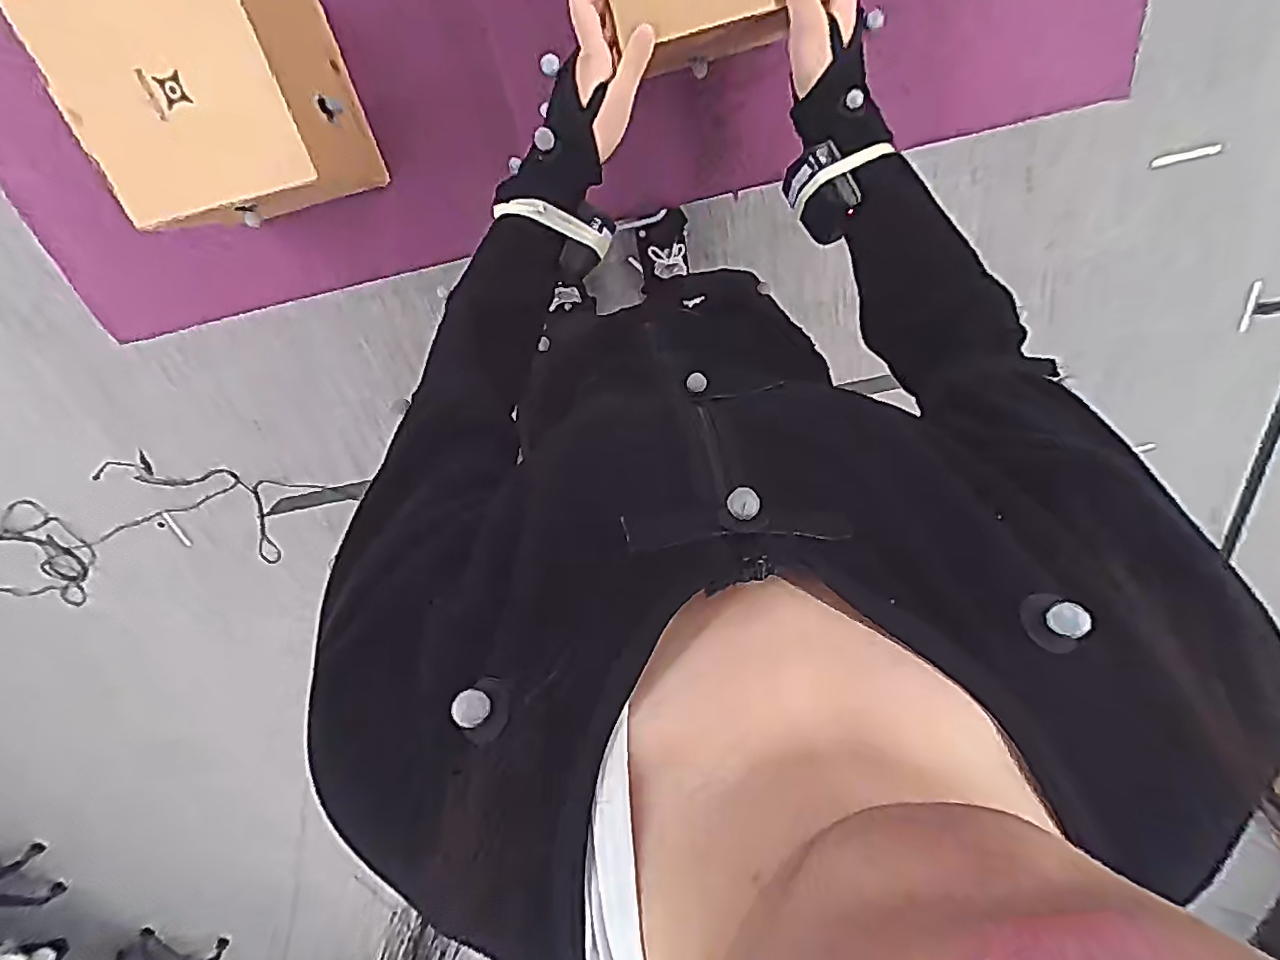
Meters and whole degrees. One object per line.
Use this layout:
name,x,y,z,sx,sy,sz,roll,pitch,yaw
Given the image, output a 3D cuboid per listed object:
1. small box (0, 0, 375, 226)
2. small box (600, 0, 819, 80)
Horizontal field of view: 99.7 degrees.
small box,-0.373,-0.346,0.495,0.179,0.176,0.168,-12,118,5
small box,0.040,-0.462,0.444,0.168,0.176,0.179,-12,120,5
